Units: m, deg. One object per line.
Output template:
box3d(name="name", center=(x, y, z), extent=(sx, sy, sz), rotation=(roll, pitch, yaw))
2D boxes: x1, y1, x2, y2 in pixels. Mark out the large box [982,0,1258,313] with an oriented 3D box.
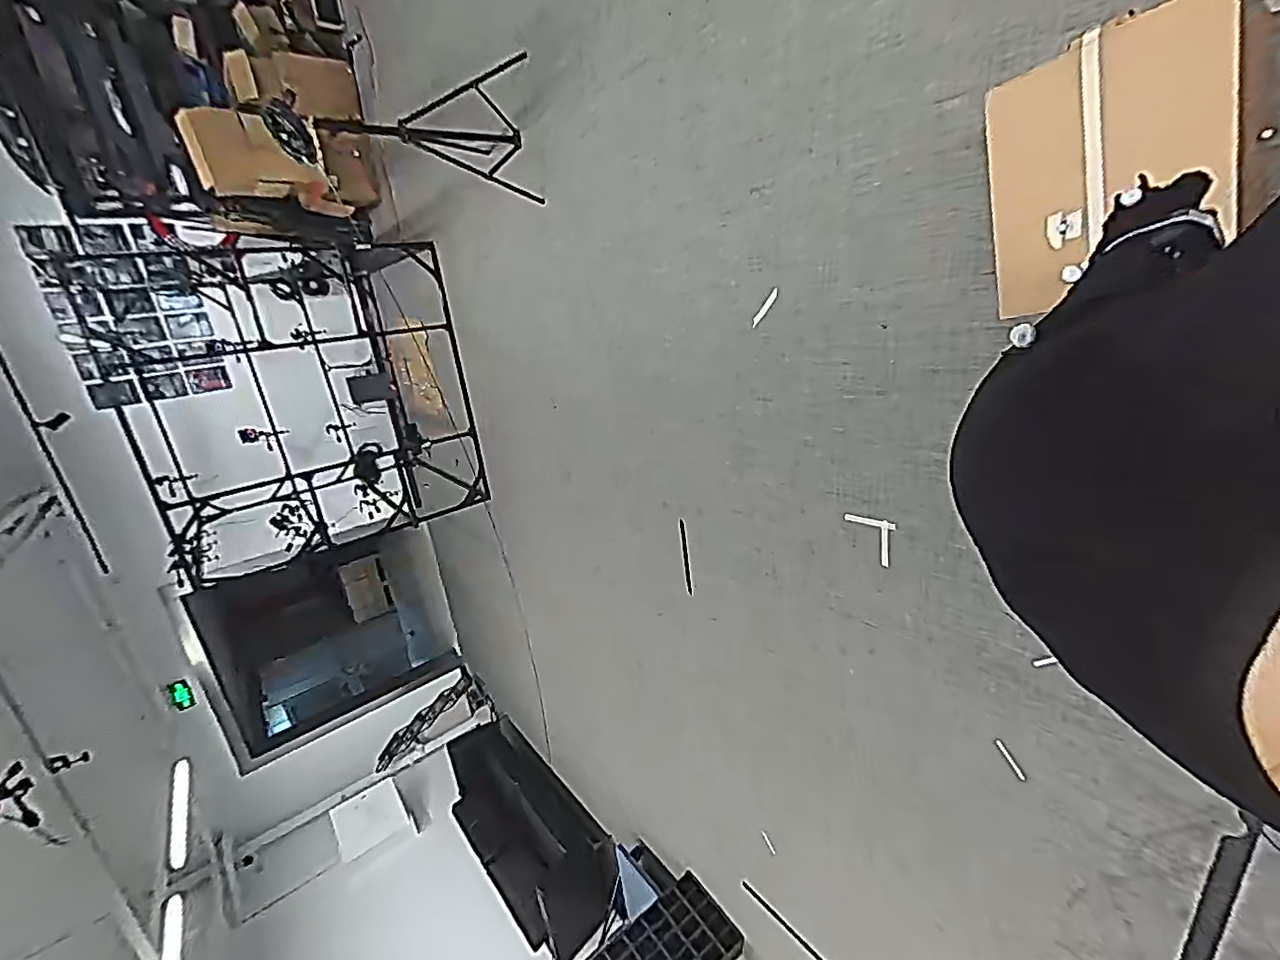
box3d(name="large box", center=(0.869, -0.554, 0.978), extent=(0.320, 0.320, 0.408), rotation=(5, 112, 55))
